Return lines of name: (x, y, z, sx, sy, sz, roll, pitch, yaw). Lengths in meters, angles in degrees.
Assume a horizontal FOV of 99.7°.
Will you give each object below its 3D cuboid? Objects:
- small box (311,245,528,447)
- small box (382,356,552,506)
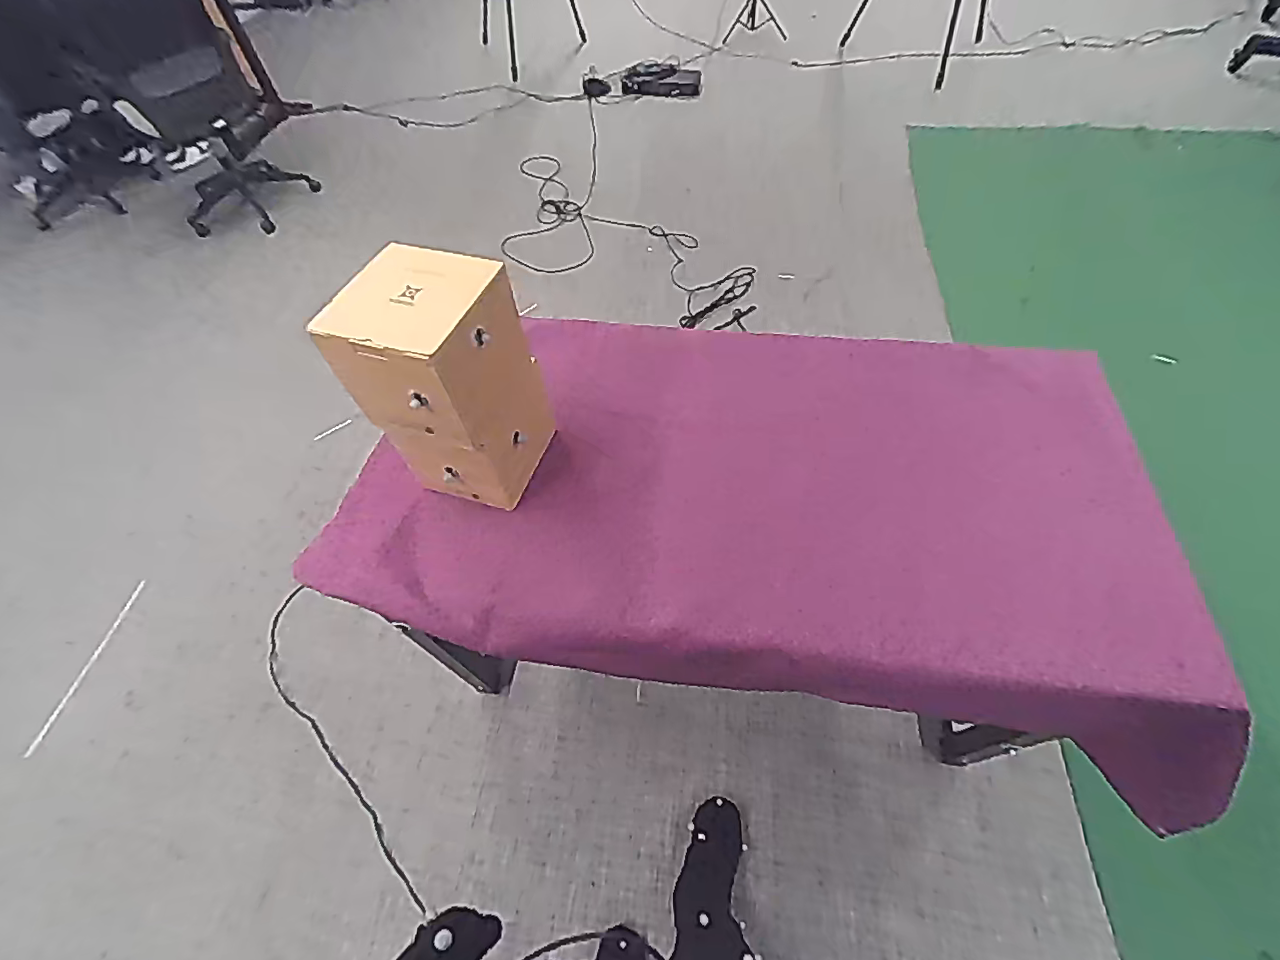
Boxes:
small box: (-0.262, -0.168, 0.696, 0.168, 0.176, 0.179, 15, 57, 13)
small box: (-0.250, -0.084, 0.836, 0.168, 0.176, 0.179, 14, 58, 12)
